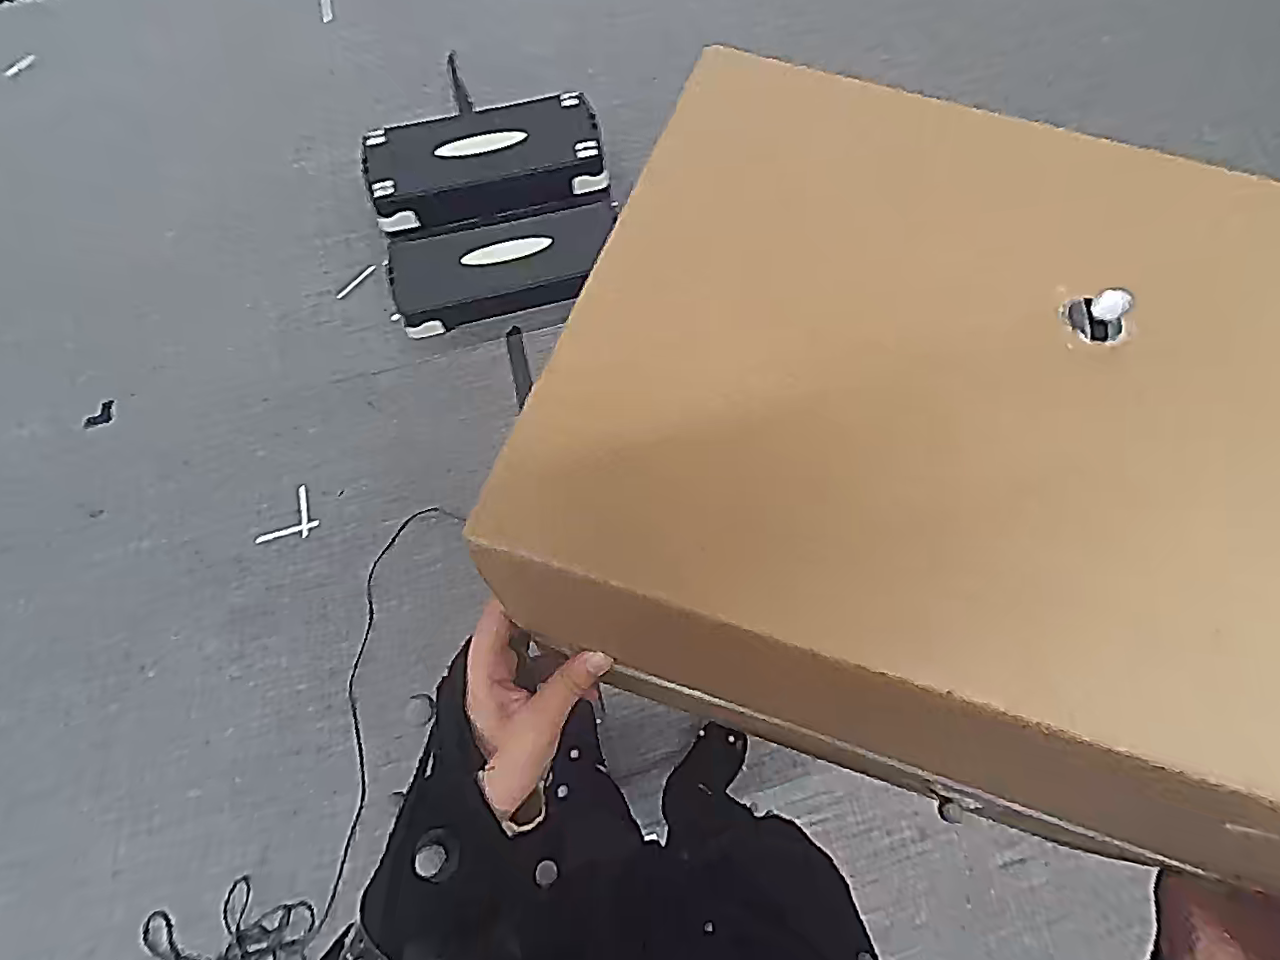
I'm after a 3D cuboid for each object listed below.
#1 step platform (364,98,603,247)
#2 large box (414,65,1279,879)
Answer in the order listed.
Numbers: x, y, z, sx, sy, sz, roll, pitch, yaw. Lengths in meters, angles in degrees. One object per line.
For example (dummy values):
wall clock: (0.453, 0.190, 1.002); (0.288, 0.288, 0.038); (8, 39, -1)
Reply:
step platform: (-0.439, -0.907, 1.592); (0.684, 0.204, 0.286); (-9, 71, -3)
large box: (0.150, 0.006, 0.351); (0.408, 0.320, 0.320); (15, 66, 5)
